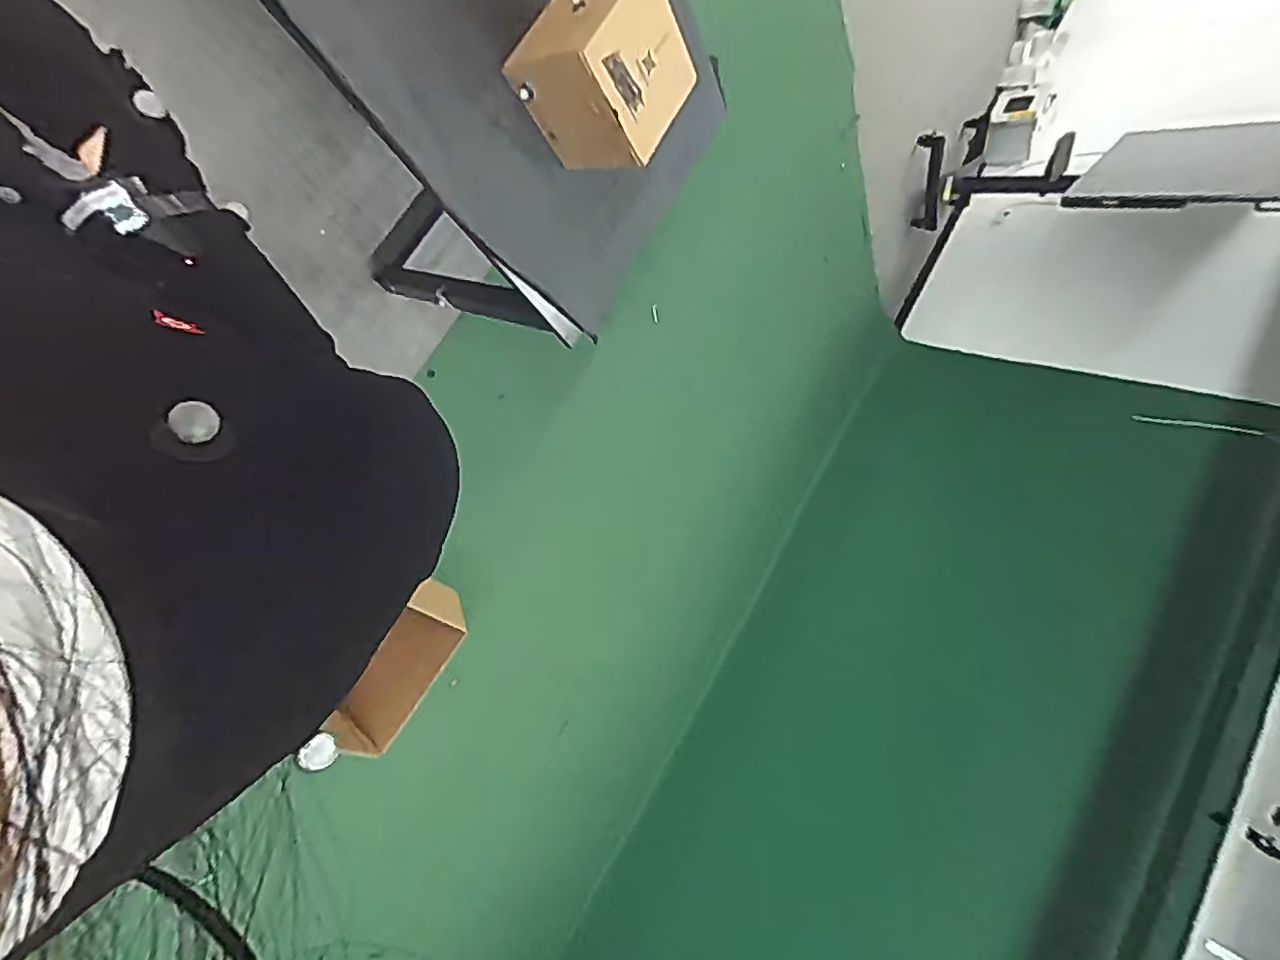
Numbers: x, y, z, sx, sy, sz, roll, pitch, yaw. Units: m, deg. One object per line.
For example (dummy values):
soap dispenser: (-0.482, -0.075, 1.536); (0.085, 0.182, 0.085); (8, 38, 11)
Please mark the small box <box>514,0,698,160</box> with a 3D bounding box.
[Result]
small box: (-0.052, -0.588, 0.772); (0.179, 0.176, 0.168); (-60, 144, -9)
